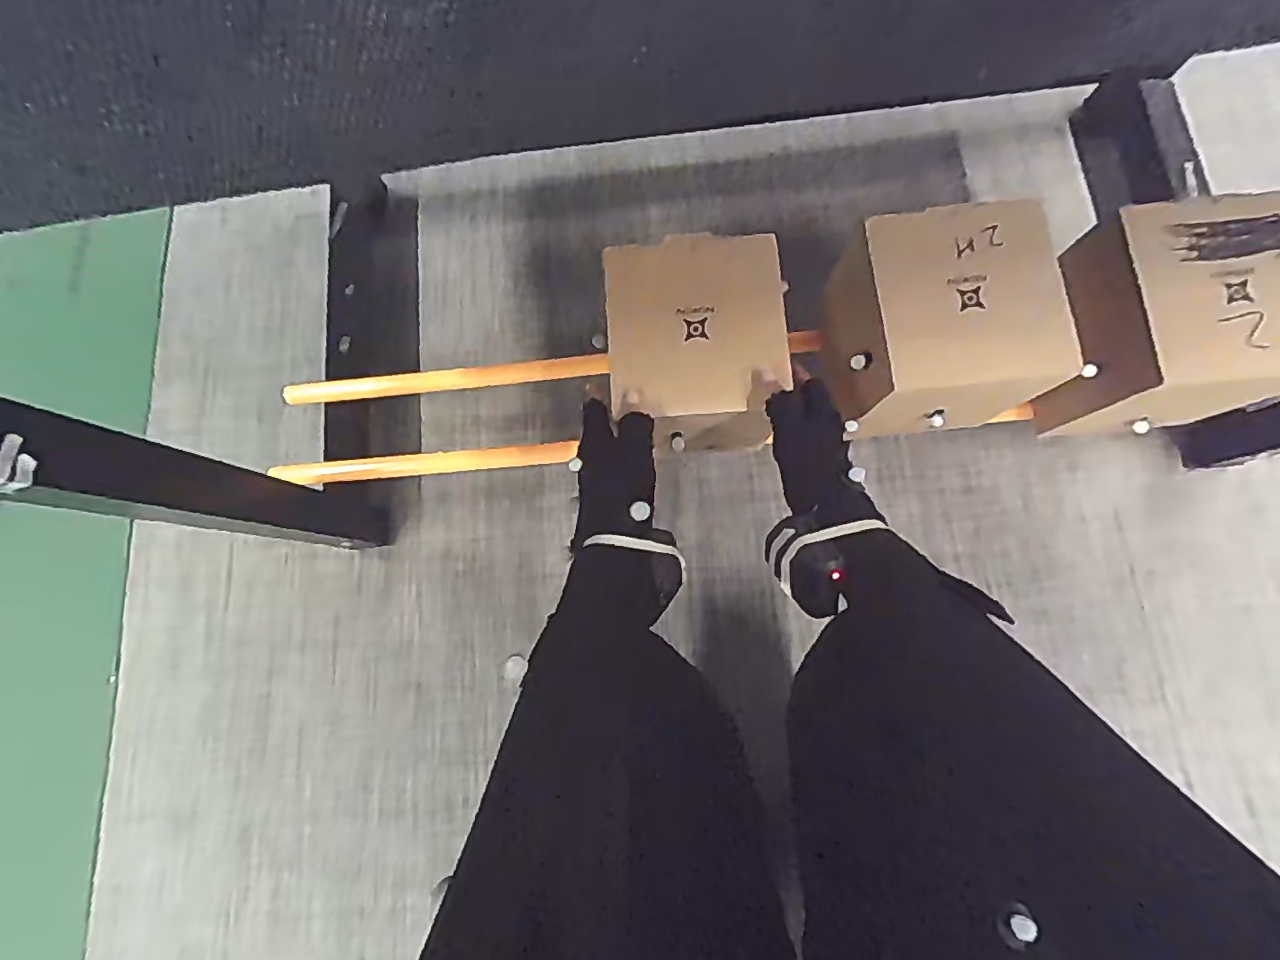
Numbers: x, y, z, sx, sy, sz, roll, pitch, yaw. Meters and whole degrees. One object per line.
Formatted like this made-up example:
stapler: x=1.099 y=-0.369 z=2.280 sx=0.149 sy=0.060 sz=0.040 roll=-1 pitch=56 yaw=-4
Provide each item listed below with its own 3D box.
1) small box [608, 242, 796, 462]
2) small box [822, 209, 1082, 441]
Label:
small box: x=0.058 y=-0.120 z=0.577 sx=0.168 sy=0.176 sz=0.179 roll=-4 pitch=77 yaw=2
small box: x=0.303 y=-0.145 z=0.569 sx=0.168 sy=0.176 sz=0.179 roll=-6 pitch=78 yaw=3
